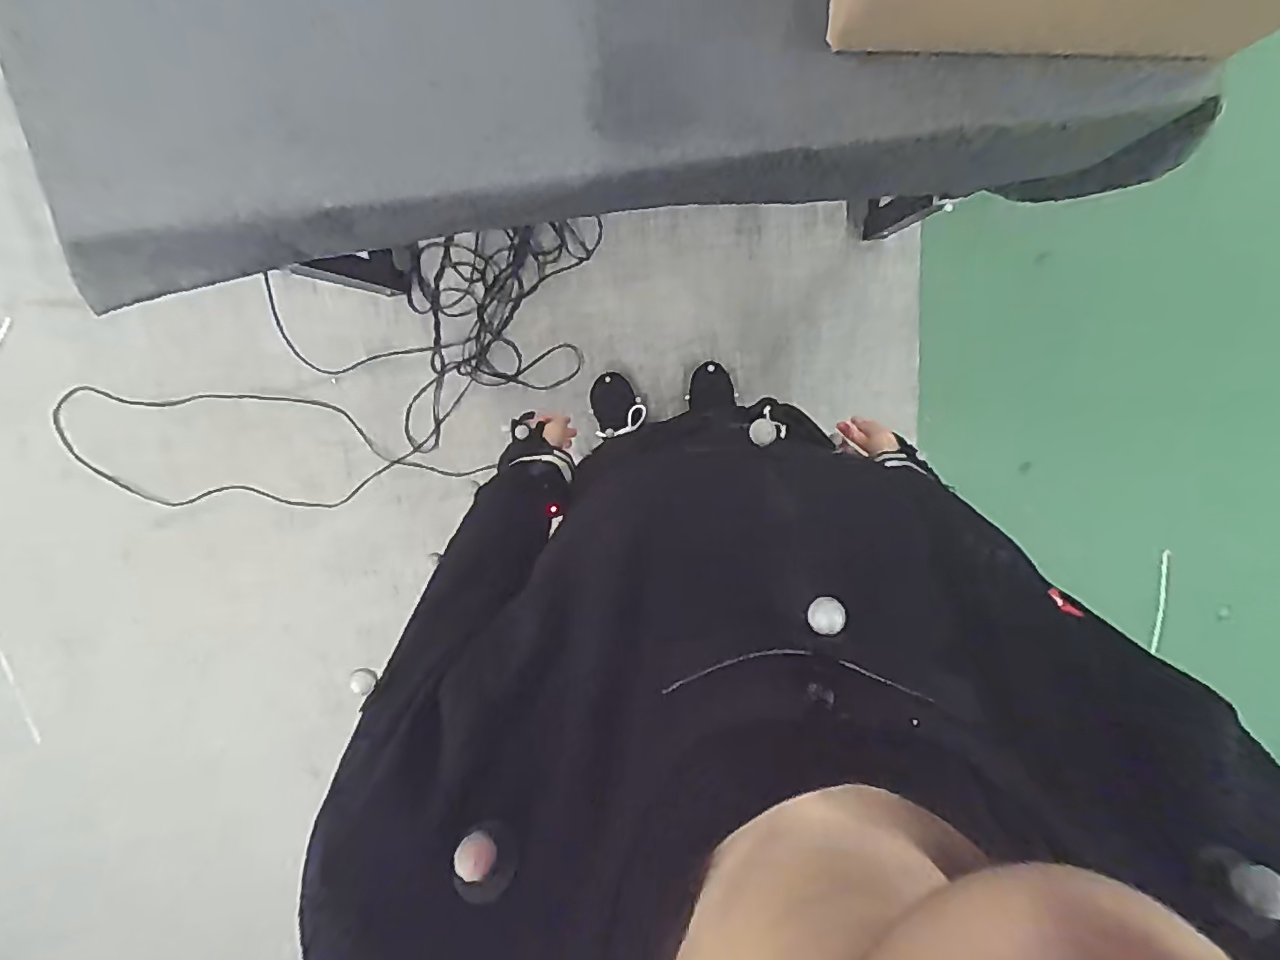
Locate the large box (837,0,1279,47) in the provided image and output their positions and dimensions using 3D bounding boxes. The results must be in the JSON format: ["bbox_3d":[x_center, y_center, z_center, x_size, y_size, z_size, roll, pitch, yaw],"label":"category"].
[{"bbox_3d":[0.386,-0.545,0.357,0.408,0.320,0.320,0,103,-1],"label":"large box"}]
